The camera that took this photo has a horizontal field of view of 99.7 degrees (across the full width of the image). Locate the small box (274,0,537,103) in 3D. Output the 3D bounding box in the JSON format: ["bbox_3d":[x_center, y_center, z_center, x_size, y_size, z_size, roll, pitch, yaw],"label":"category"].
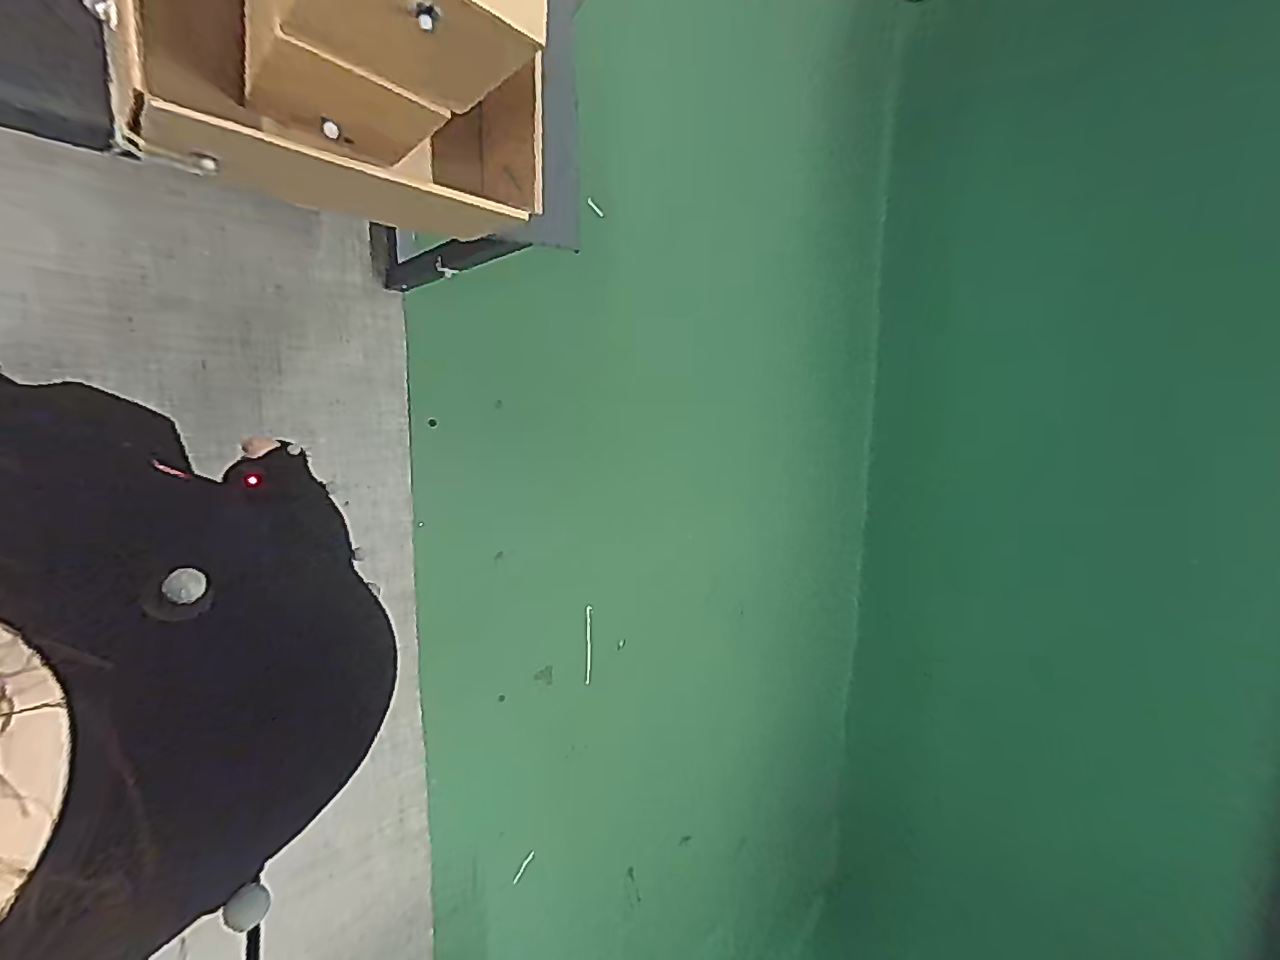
[{"bbox_3d":[-0.209,-0.479,0.480,0.179,0.176,0.168,-3,99,-46],"label":"small box"}]
